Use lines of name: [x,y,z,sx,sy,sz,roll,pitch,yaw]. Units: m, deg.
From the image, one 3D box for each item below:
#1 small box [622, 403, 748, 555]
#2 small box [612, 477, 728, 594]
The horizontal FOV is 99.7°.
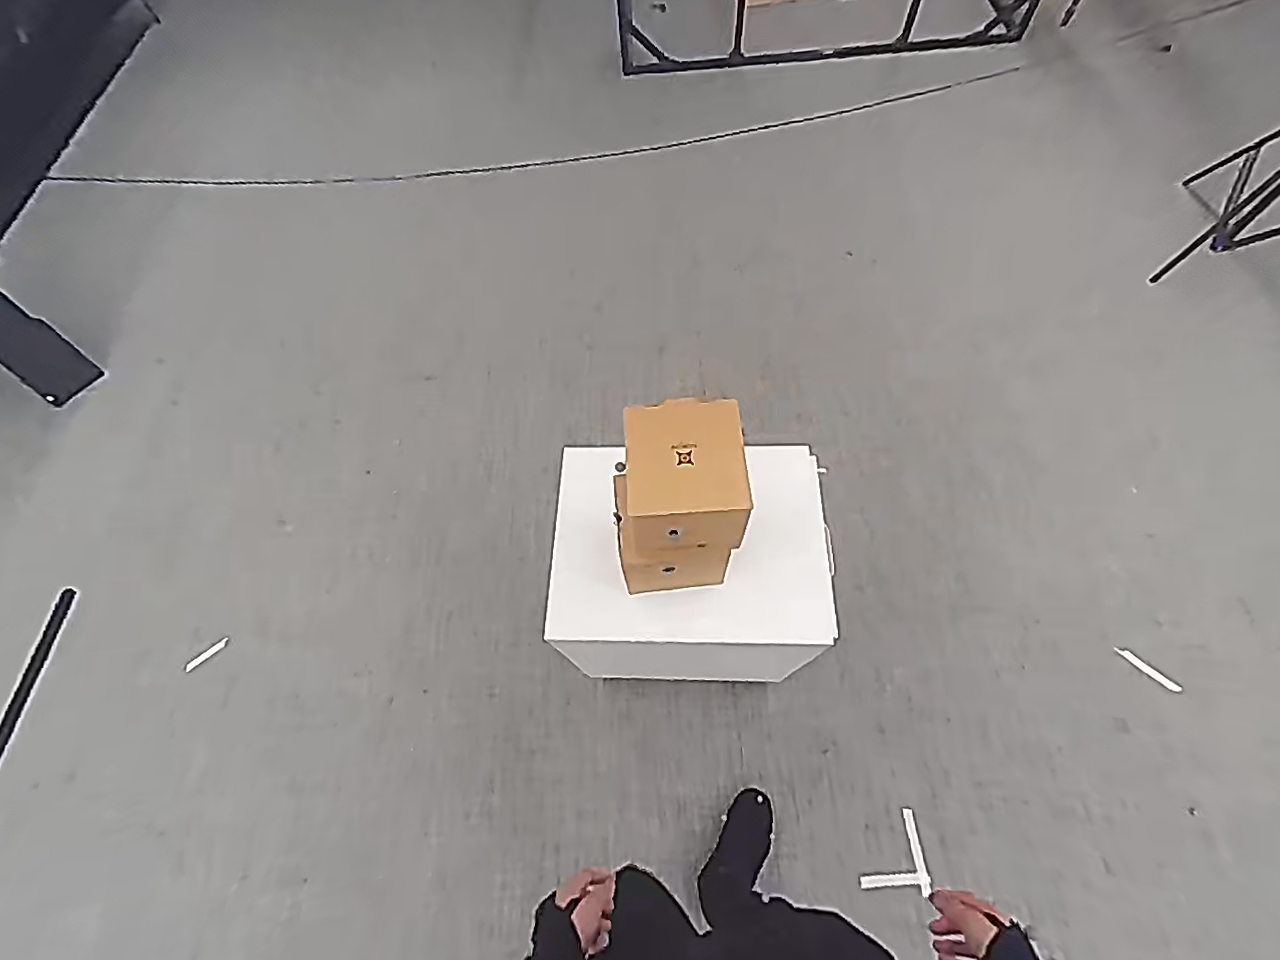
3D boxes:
small box: [0.064,0.007,0.816,0.168,0.176,0.179,-4,62,2]
small box: [0.052,0.095,0.955,0.179,0.176,0.168,-7,63,0]
